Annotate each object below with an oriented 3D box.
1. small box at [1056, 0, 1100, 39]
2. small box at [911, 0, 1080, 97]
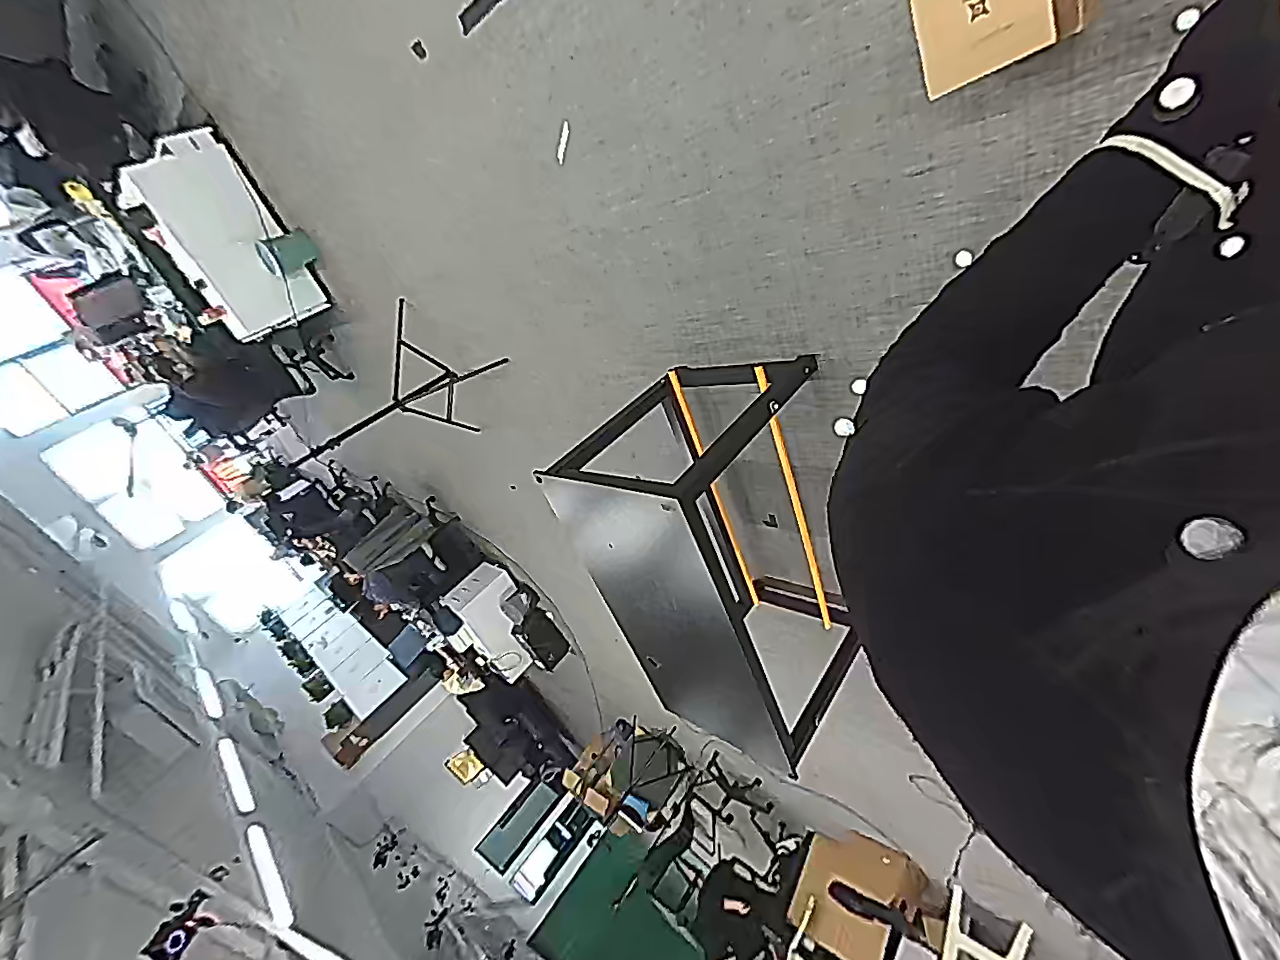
[{"bbox_3d":[0.626,-0.801,0.885,0.179,0.176,0.168,5,130,46],"label":"small box"},{"bbox_3d":[0.521,-0.714,0.795,0.168,0.176,0.179,3,130,50],"label":"small box"}]
